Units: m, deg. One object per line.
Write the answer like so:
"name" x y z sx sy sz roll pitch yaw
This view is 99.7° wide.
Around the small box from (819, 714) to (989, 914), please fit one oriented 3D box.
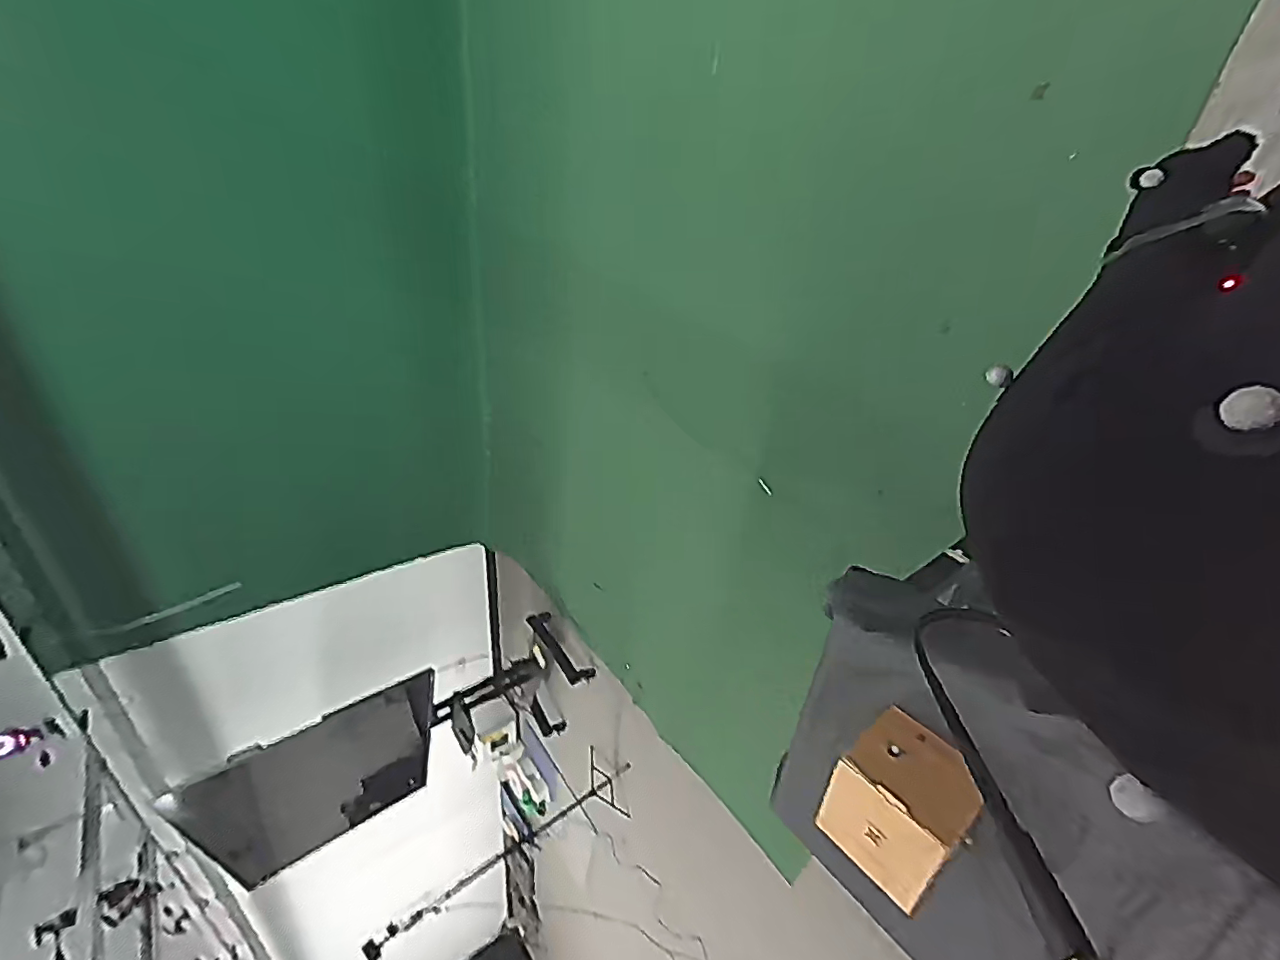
"small box" 0.415 0.512 0.854 0.168 0.176 0.179 33 130 43
